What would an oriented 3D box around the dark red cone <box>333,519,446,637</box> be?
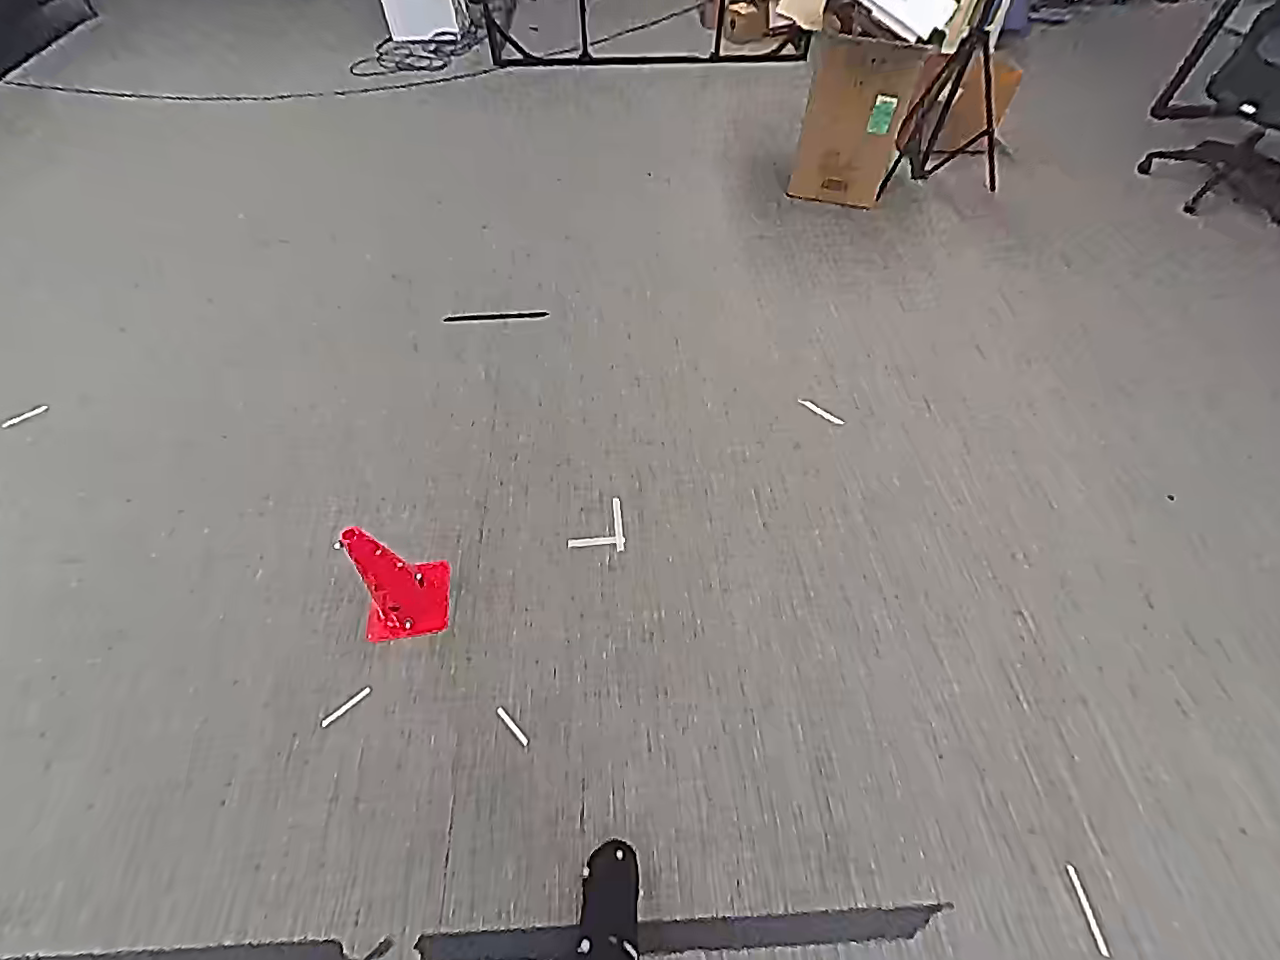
[{"bbox_3d":[-0.599,0.200,1.242,0.202,0.394,0.201,-9,57,-6],"label":"dark red cone"}]
